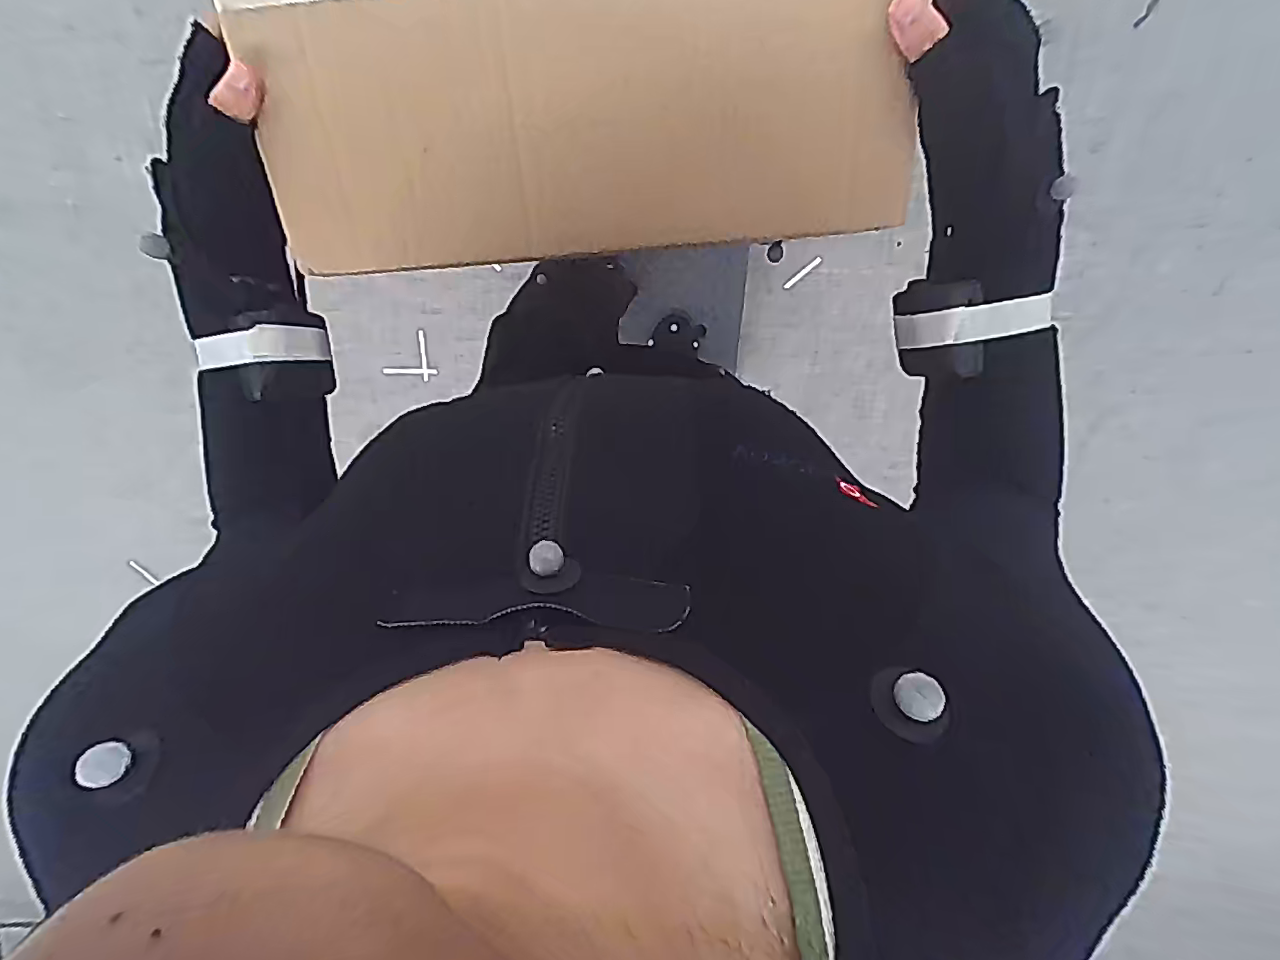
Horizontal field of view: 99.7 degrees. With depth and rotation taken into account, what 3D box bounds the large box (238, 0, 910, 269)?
[{"bbox_3d":[-0.036,-0.363,0.444,0.408,0.320,0.320,-3,113,5],"label":"large box"}]
